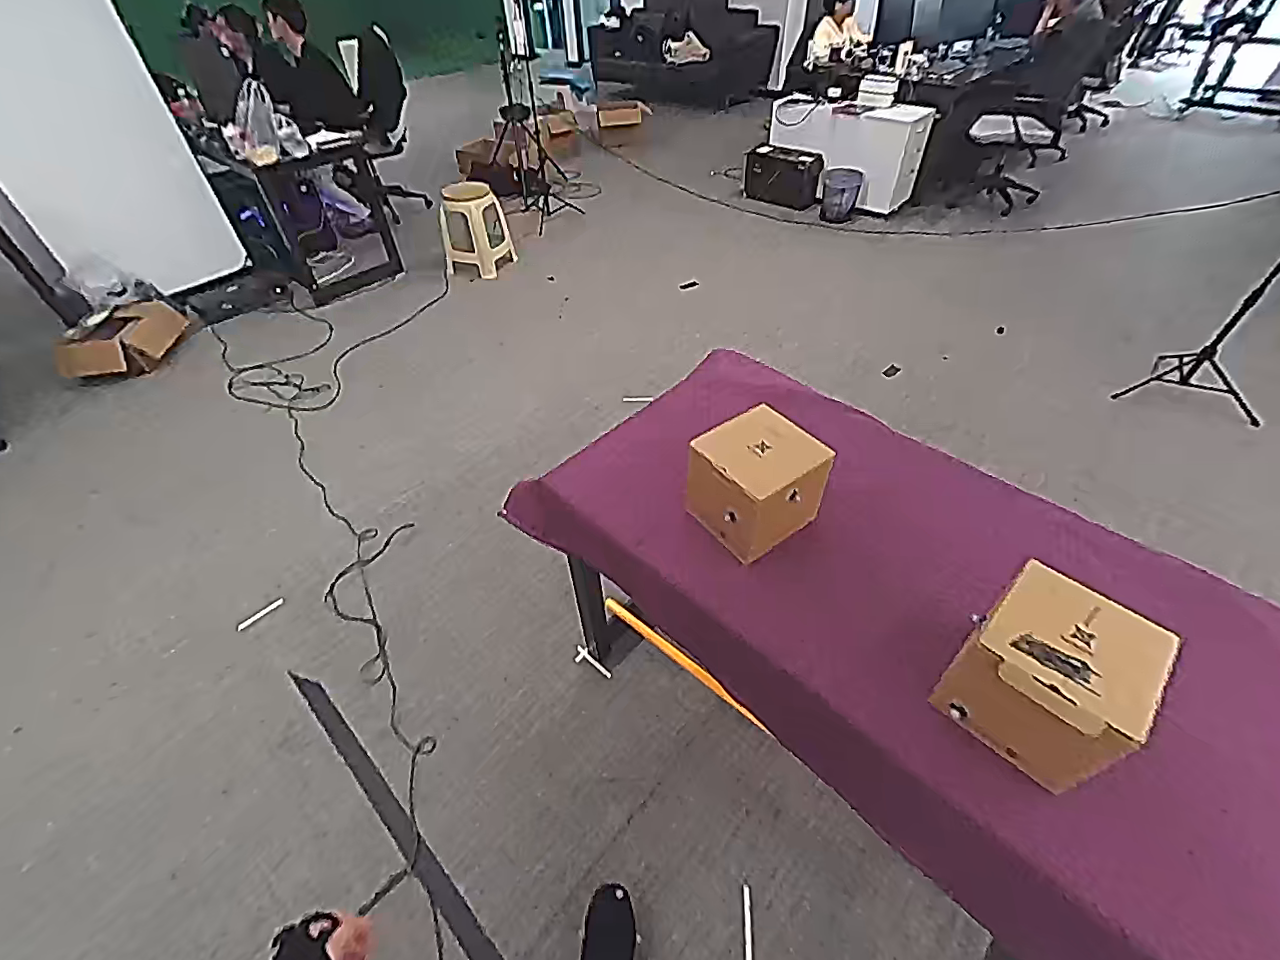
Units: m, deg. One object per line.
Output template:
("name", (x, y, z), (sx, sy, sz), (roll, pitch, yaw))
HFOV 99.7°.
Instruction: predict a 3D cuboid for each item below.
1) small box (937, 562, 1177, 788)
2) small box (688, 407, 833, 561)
("small box", (0.510, 0.247, 0.686), (0.179, 0.176, 0.168), (-34, 53, -29))
("small box", (0.199, 0.009, 0.936), (0.179, 0.176, 0.168), (-27, 51, -23))
